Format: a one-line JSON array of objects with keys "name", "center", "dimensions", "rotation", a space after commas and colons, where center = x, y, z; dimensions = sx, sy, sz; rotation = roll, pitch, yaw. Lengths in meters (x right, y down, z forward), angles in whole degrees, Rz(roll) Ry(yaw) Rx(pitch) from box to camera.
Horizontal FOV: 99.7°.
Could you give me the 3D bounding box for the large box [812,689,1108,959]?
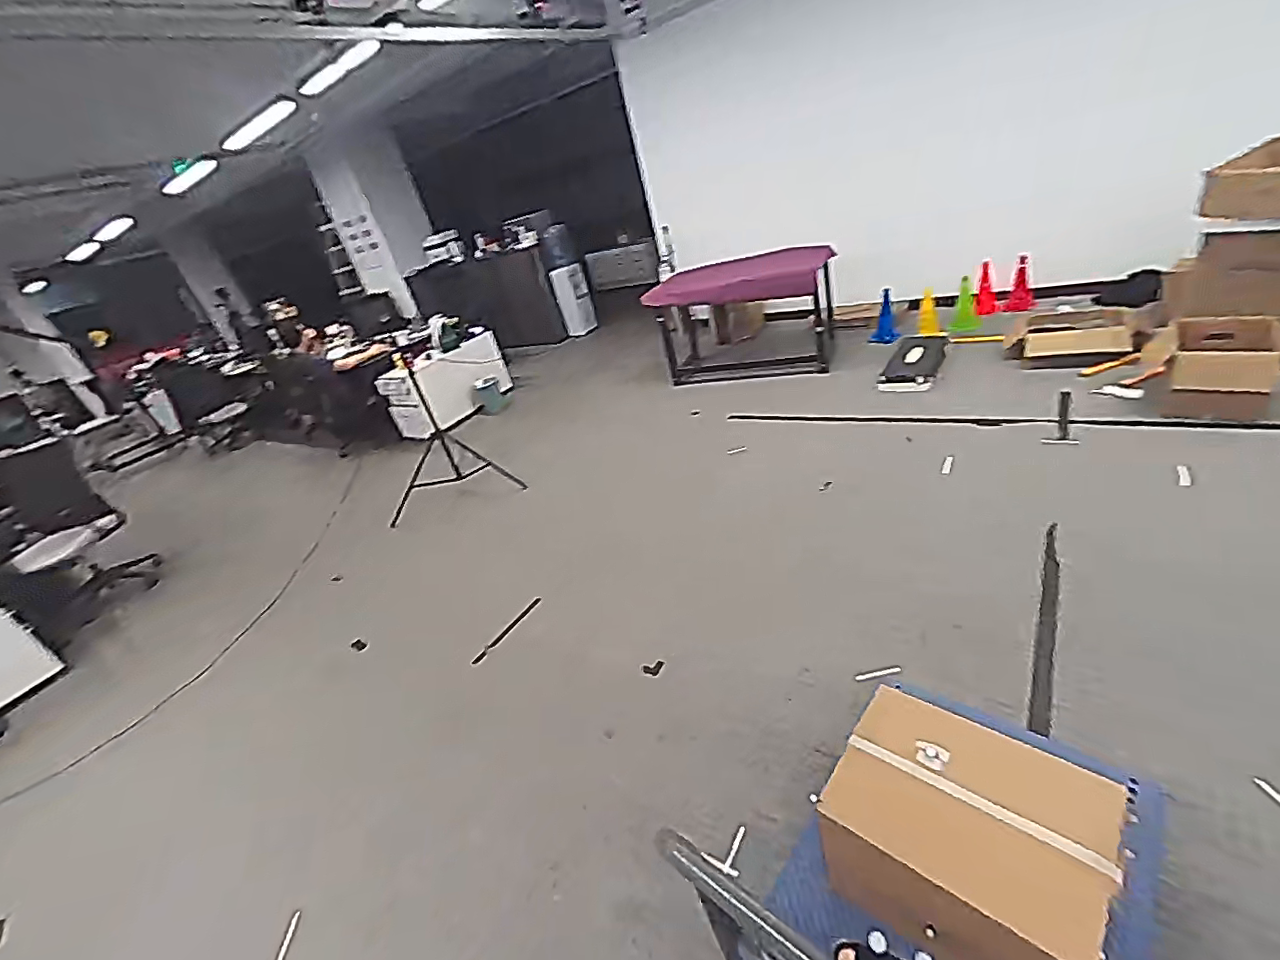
[{"name": "large box", "center": [0.599, 0.684, 1.029], "dimensions": [0.408, 0.320, 0.320], "rotation": [11, 39, 42]}]
